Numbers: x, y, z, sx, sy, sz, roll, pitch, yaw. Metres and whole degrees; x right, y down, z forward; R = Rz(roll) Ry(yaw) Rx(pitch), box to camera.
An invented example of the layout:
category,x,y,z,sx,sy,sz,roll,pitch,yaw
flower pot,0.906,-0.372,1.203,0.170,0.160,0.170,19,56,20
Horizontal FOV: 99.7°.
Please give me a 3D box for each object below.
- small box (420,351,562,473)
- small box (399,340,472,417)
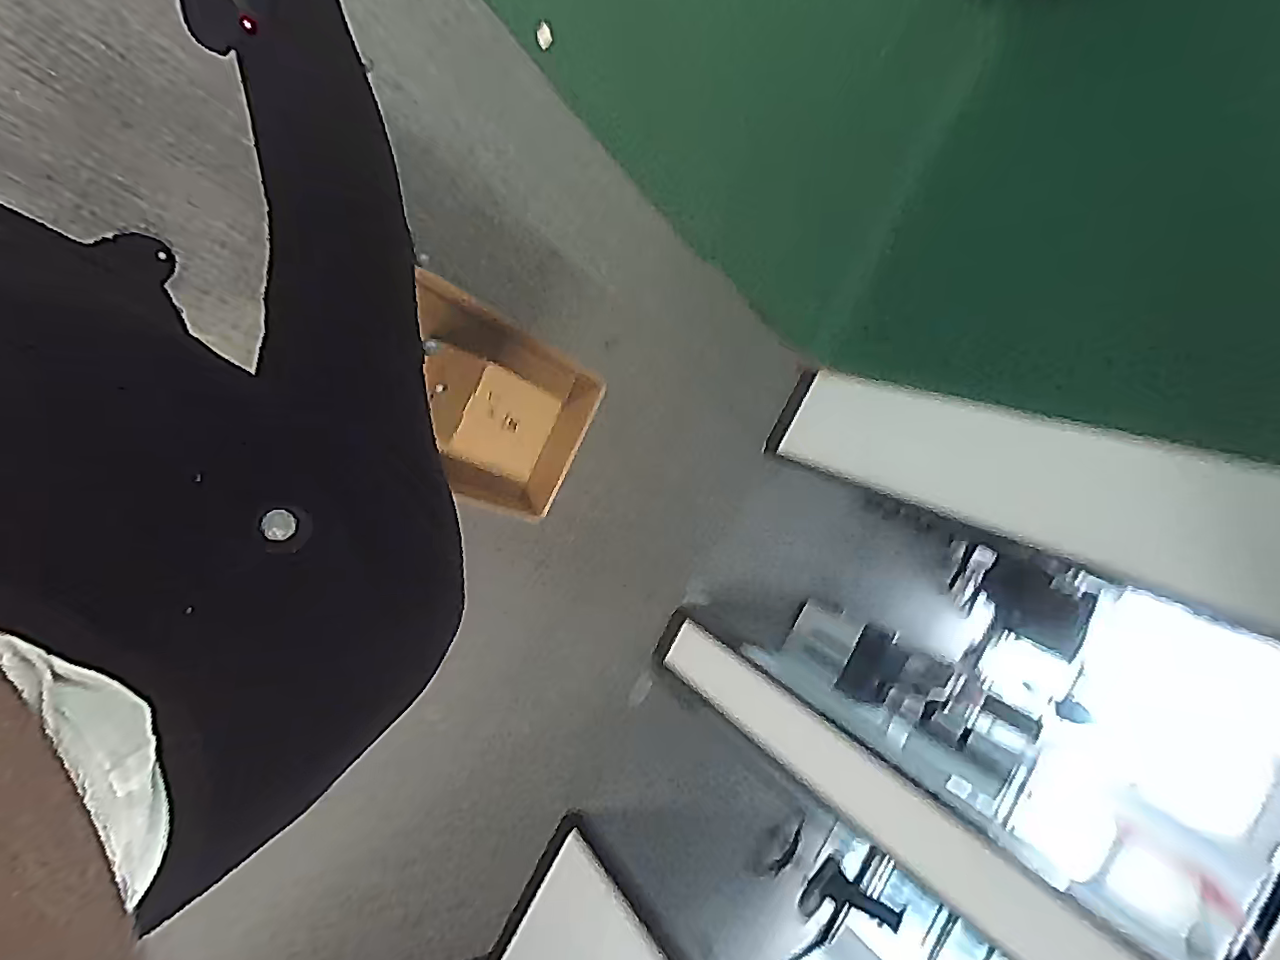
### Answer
category,x,y,z,sx,sy,sz,roll,pitch,yaw
small box,-0.291,-0.136,1.055,0.179,0.176,0.168,25,91,-46
small box,-0.390,-0.188,1.176,0.179,0.176,0.168,27,91,-47
